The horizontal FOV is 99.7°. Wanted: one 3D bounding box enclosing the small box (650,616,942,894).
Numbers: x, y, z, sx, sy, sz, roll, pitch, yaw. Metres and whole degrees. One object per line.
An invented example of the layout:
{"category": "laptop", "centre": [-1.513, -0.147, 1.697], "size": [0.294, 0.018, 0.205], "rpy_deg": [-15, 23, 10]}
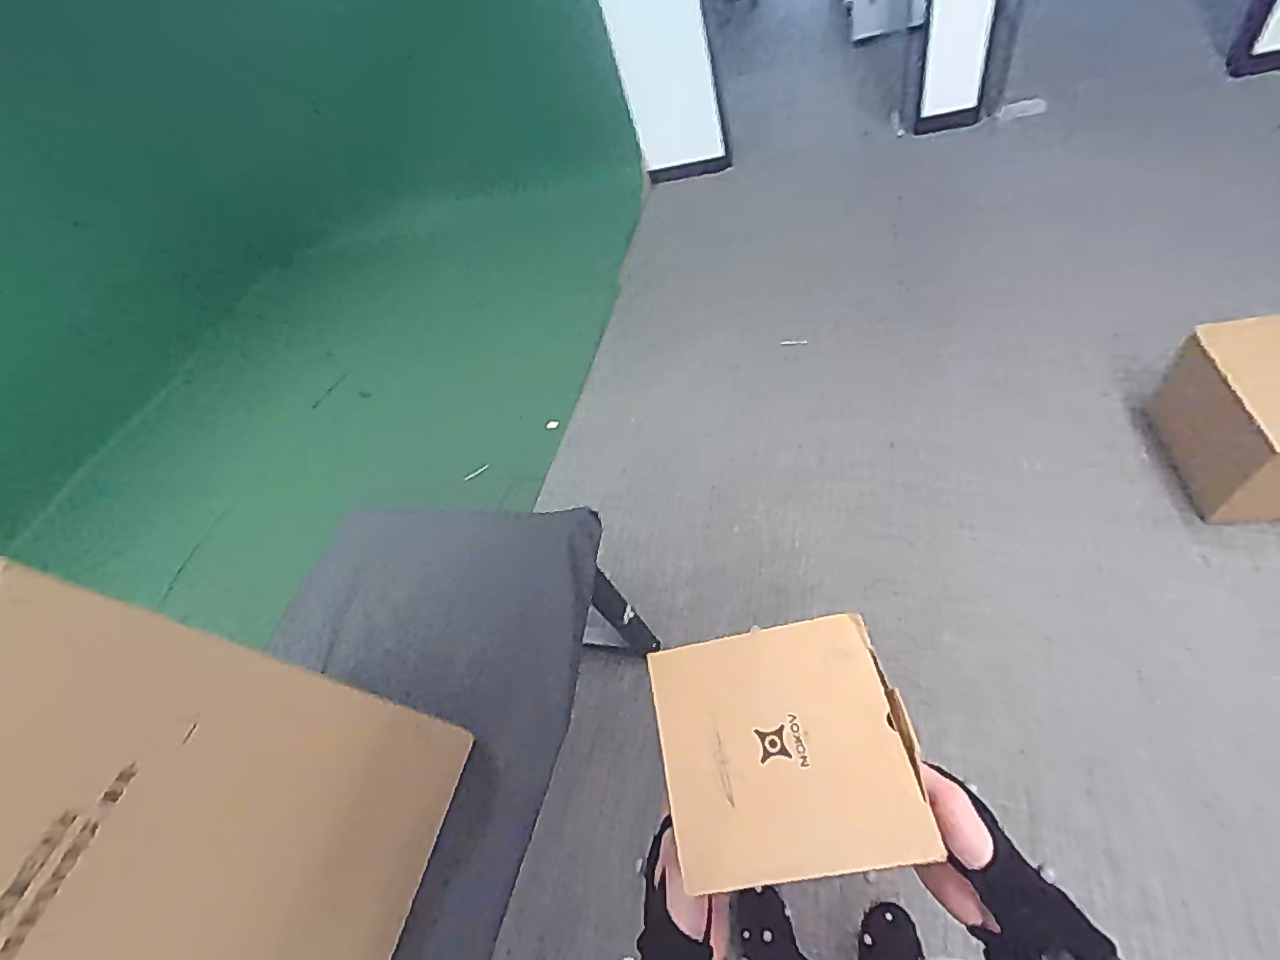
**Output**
{"category": "small box", "centre": [0.119, 0.233, 0.465], "size": [0.179, 0.176, 0.168], "rpy_deg": [-14, 57, 8]}
